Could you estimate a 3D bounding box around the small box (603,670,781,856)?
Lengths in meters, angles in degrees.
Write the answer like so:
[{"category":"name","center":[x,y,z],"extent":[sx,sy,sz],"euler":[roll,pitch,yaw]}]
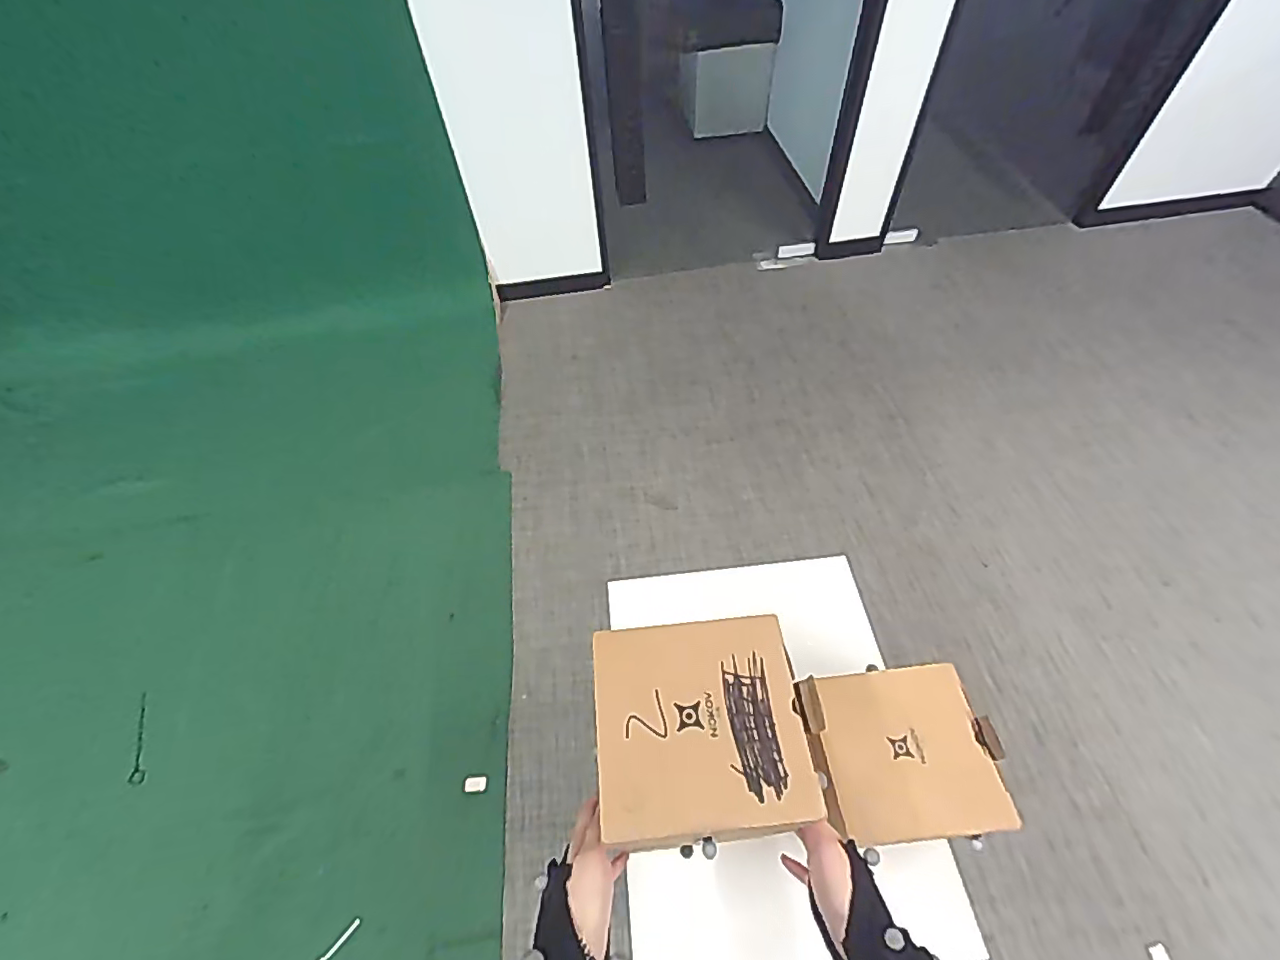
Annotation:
[{"category":"small box","center":[0.054,0.345,0.652],"extent":[0.179,0.176,0.168],"euler":[-6,54,-2]}]
